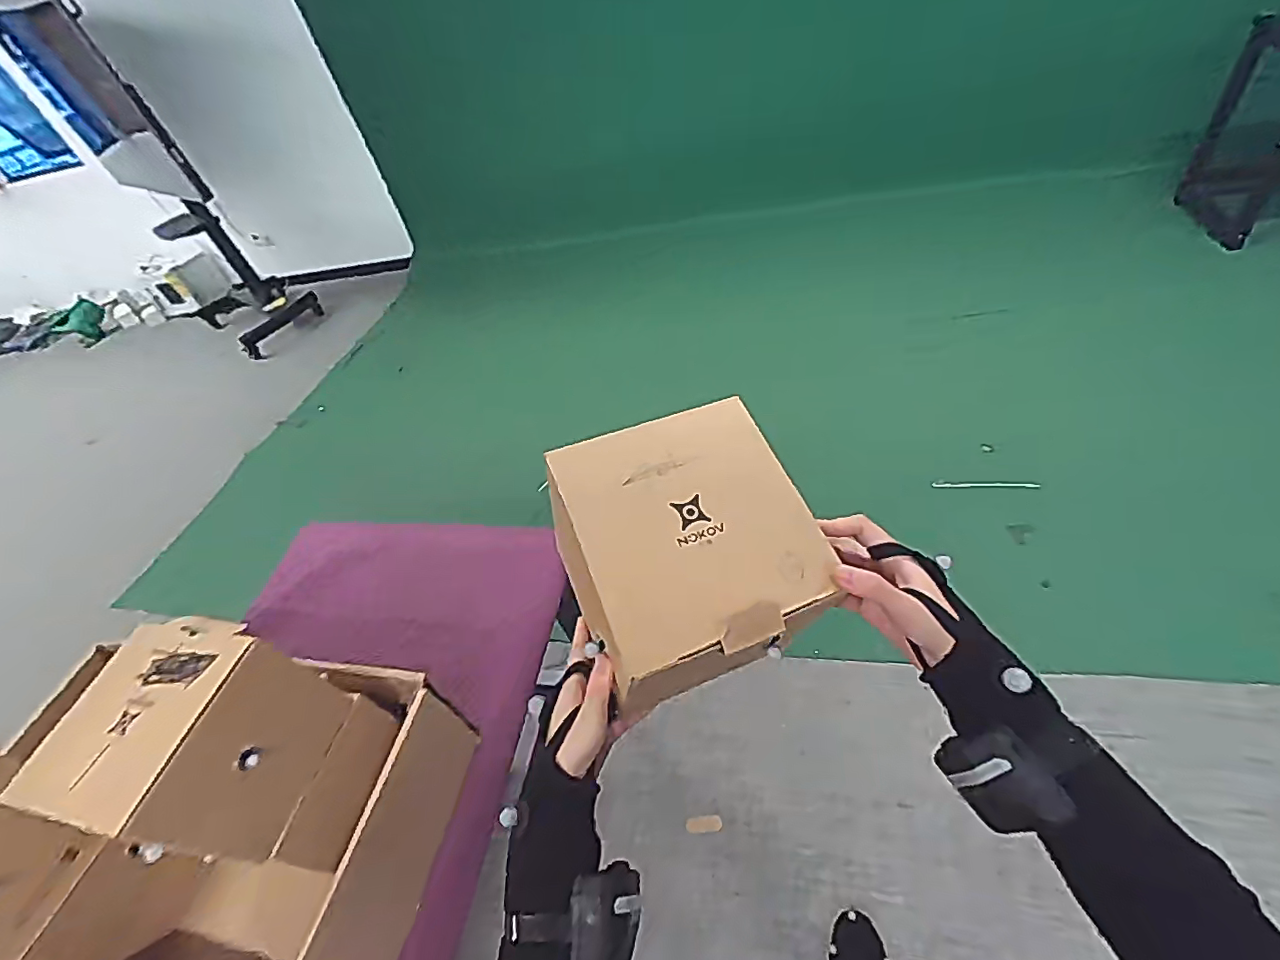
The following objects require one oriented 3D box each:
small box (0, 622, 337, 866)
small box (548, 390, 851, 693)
[{"bbox_3d":[-0.461,0.273,0.567,0.168,0.176,0.179,1,49,18],"label":"small box"},{"bbox_3d":[0.033,0.060,0.448,0.168,0.176,0.179,-17,61,-15],"label":"small box"}]
